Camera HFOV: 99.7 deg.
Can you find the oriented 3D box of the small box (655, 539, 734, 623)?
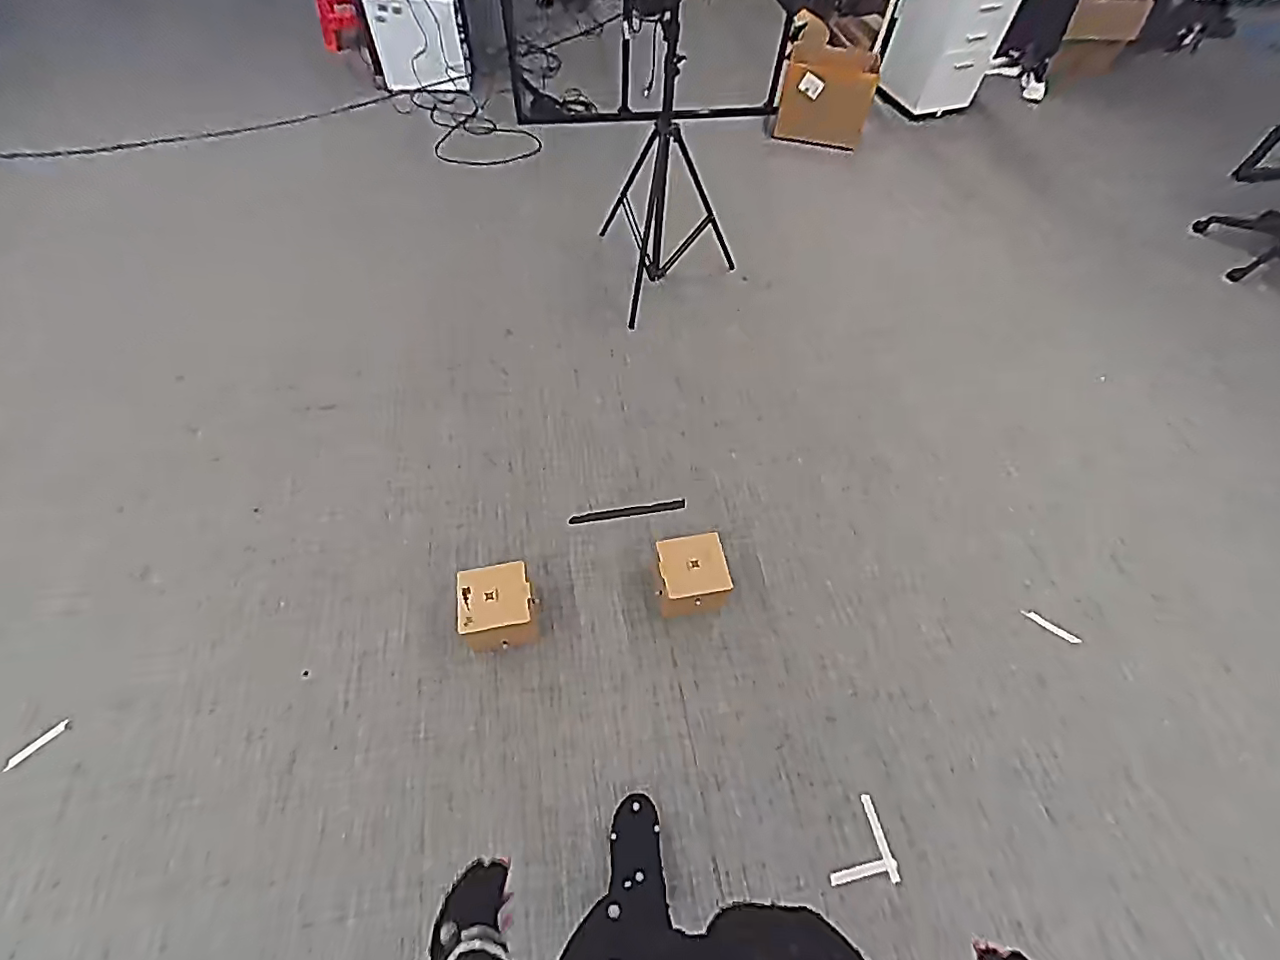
[{"bbox_3d":[0.139,0.281,1.482,0.179,0.176,0.168,-8,59,-9],"label":"small box"}]

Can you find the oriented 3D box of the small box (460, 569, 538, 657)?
[{"bbox_3d":[-0.363,0.351,1.415,0.179,0.176,0.168,-8,58,-8],"label":"small box"}]
